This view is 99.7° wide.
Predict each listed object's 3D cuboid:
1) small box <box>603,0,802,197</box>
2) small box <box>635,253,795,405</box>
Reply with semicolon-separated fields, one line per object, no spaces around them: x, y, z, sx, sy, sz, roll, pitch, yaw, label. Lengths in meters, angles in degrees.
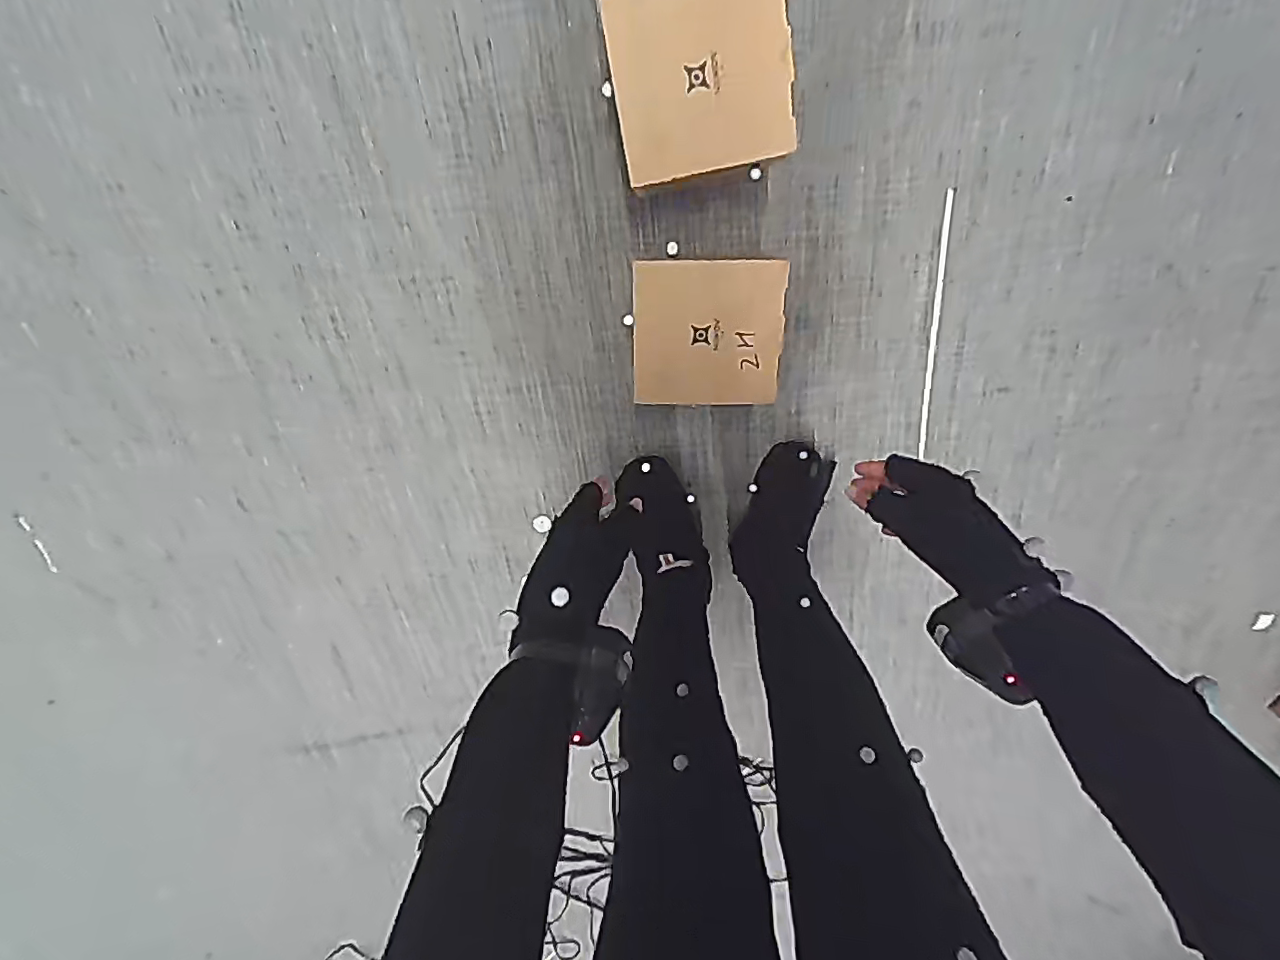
0.068;-0.423;0.598;0.179;0.176;0.168;-10;114;6;small box
0.086;-0.199;0.697;0.179;0.176;0.168;0;115;2;small box
